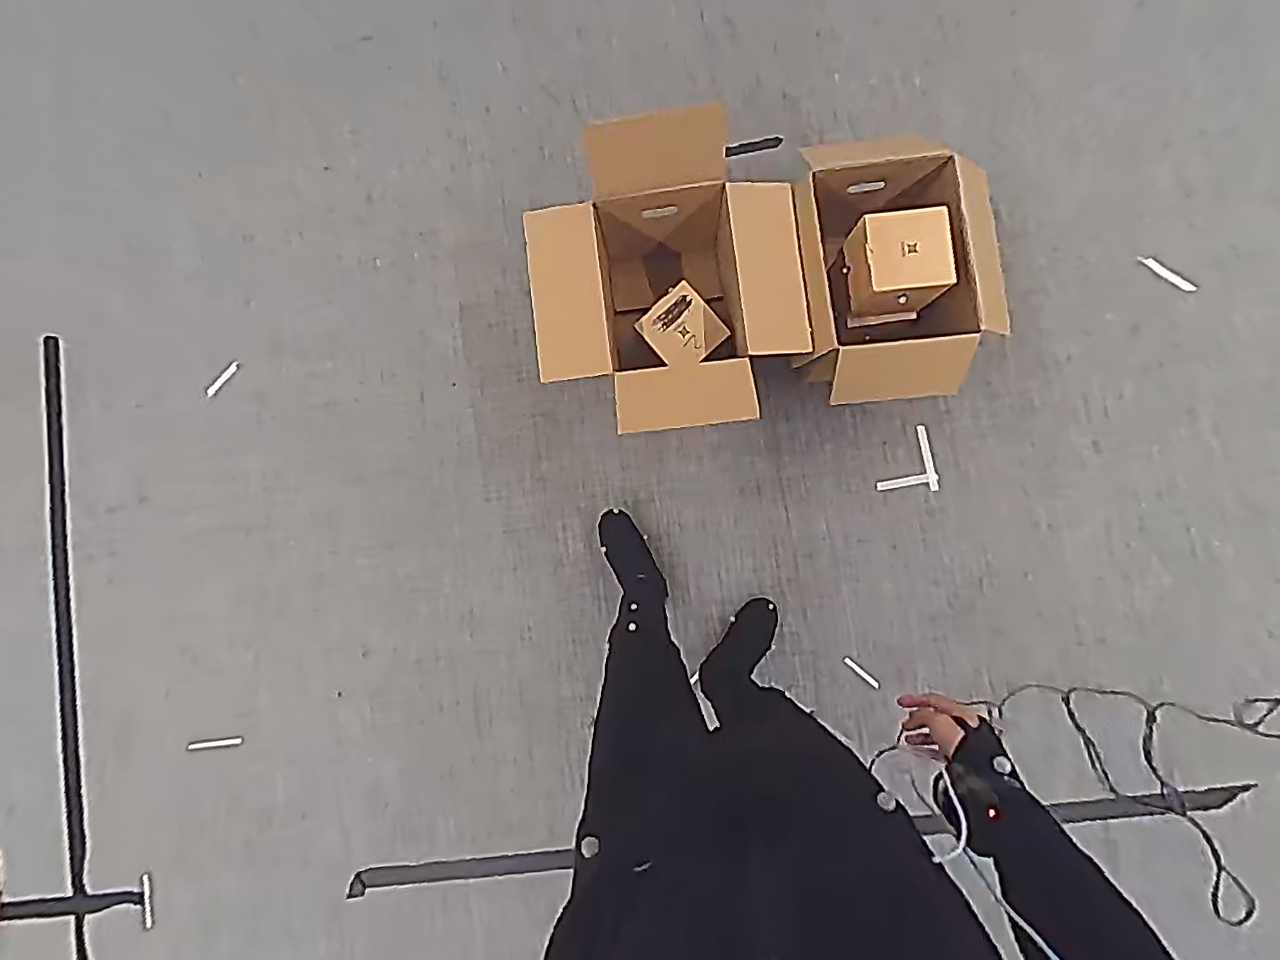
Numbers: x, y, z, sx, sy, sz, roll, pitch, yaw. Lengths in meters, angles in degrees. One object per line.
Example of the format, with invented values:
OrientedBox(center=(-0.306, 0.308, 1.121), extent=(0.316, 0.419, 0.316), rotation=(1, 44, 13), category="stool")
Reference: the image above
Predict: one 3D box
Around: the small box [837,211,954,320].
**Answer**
OrientedBox(center=(0.558, -0.466, 1.196), extent=(0.179, 0.176, 0.168), rotation=(-6, 88, 3), category="small box")
